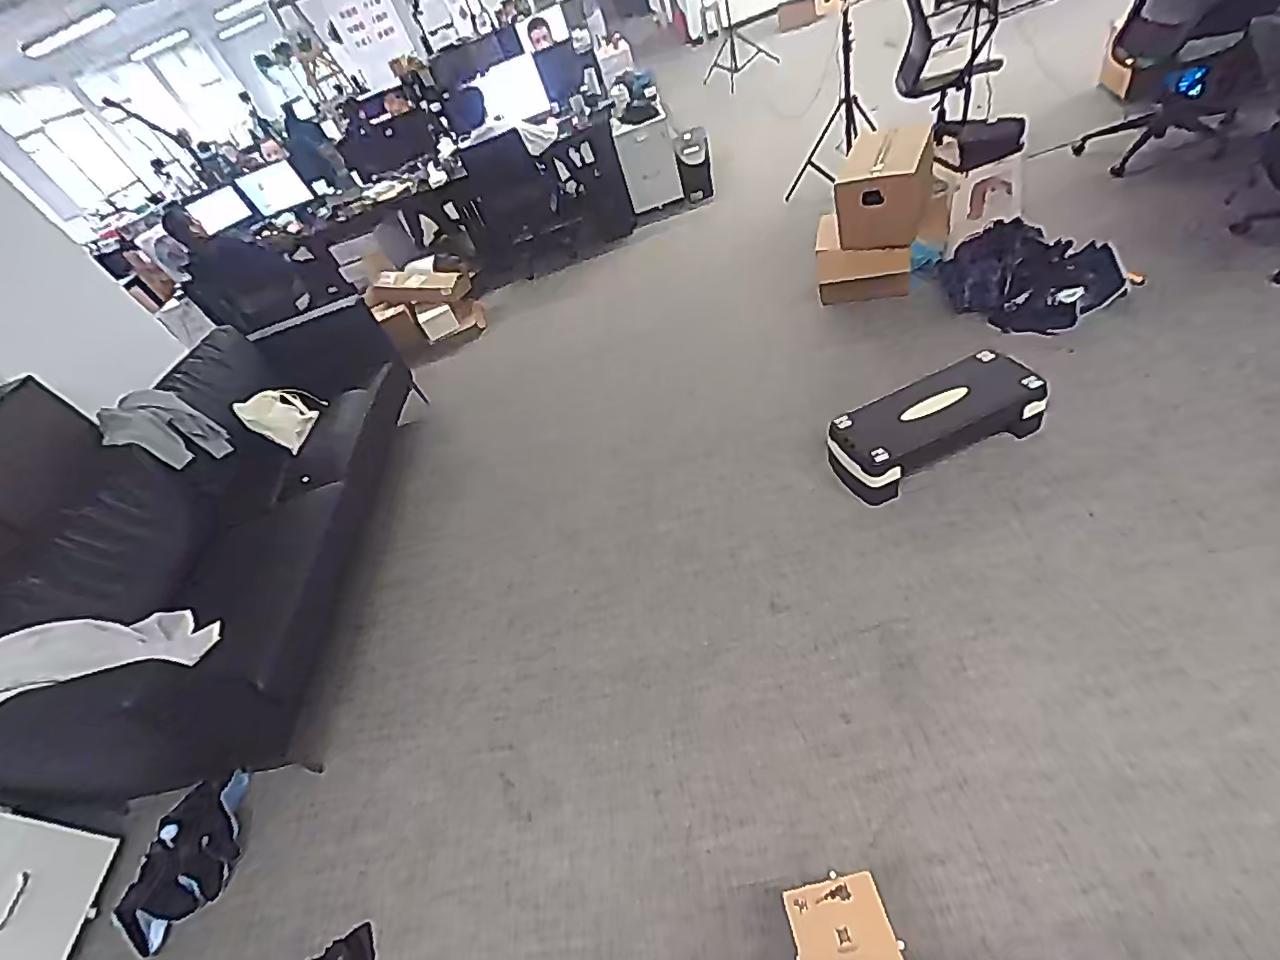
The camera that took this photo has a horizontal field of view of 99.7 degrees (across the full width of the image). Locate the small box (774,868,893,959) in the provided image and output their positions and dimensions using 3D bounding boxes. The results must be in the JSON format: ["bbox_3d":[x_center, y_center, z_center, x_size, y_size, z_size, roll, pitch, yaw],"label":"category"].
[{"bbox_3d":[0.361,0.840,0.985,0.168,0.176,0.179,-19,44,6],"label":"small box"}]
